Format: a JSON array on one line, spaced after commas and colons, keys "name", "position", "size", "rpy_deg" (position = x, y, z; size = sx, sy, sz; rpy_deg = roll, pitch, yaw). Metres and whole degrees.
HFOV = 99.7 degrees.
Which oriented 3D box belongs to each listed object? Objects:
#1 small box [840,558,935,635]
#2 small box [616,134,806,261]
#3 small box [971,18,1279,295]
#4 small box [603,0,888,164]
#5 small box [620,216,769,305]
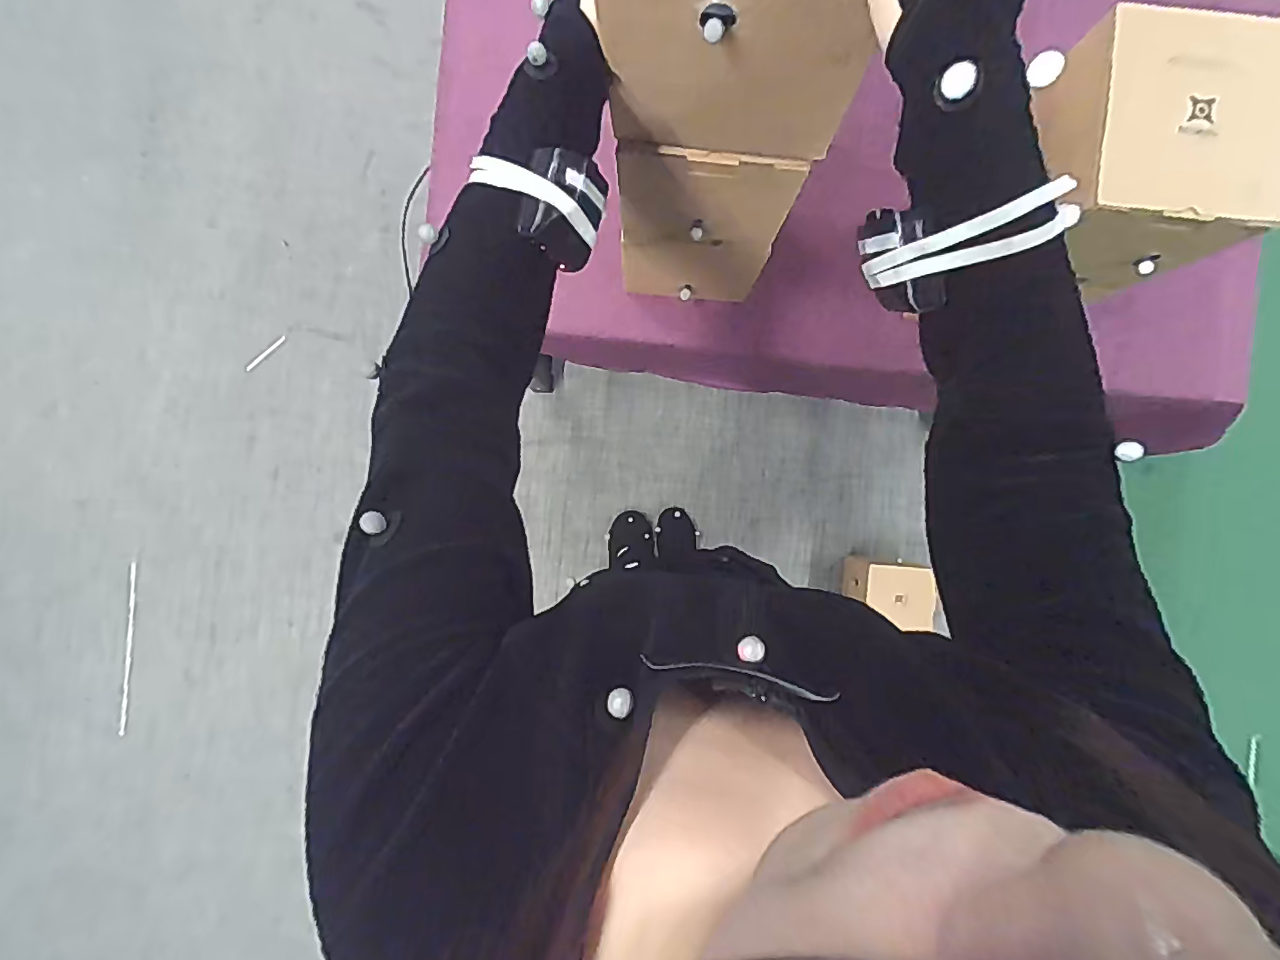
[{"name": "small box", "position": [0.649, 0.302, 1.435], "size": [0.179, 0.176, 0.168], "rpy_deg": [4, 90, -1]}, {"name": "small box", "position": [0.069, -0.348, 0.543], "size": [0.168, 0.176, 0.179], "rpy_deg": [6, 89, 1]}, {"name": "small box", "position": [0.468, -0.303, 0.545], "size": [0.168, 0.176, 0.179], "rpy_deg": [6, 89, 0]}, {"name": "small box", "position": [0.070, -0.351, 0.375], "size": [0.179, 0.176, 0.168], "rpy_deg": [8, 89, 2]}, {"name": "small box", "position": [0.067, -0.340, 0.708], "size": [0.179, 0.176, 0.168], "rpy_deg": [4, 89, -1]}]
